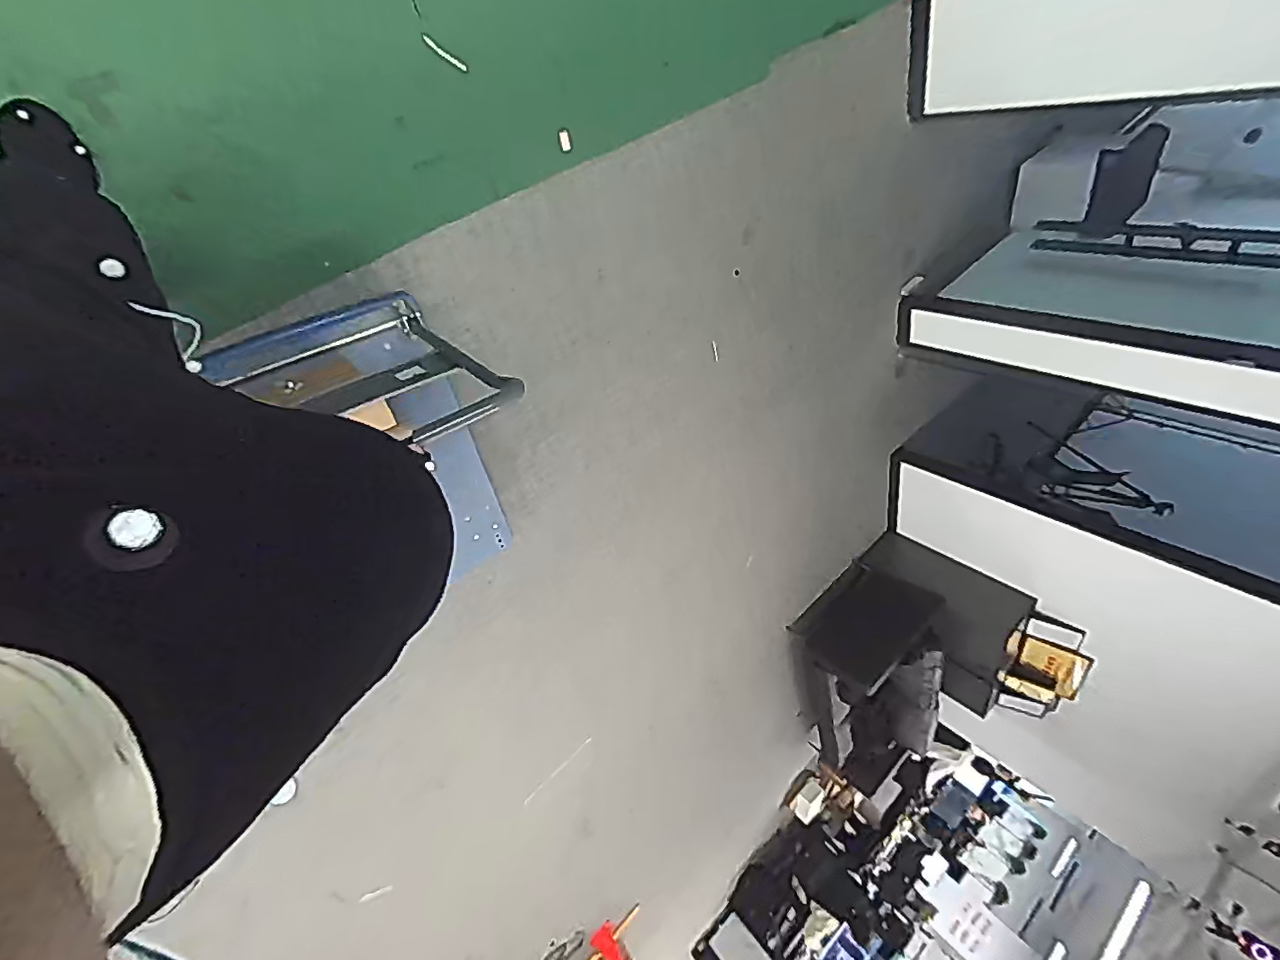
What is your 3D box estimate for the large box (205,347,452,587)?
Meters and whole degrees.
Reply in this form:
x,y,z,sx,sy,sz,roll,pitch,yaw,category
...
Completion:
x,y,z,sx,sy,sz,roll,pitch,yaw,category
-0.713,-0.041,1.265,0.320,0.320,0.408,-32,132,-24,large box
